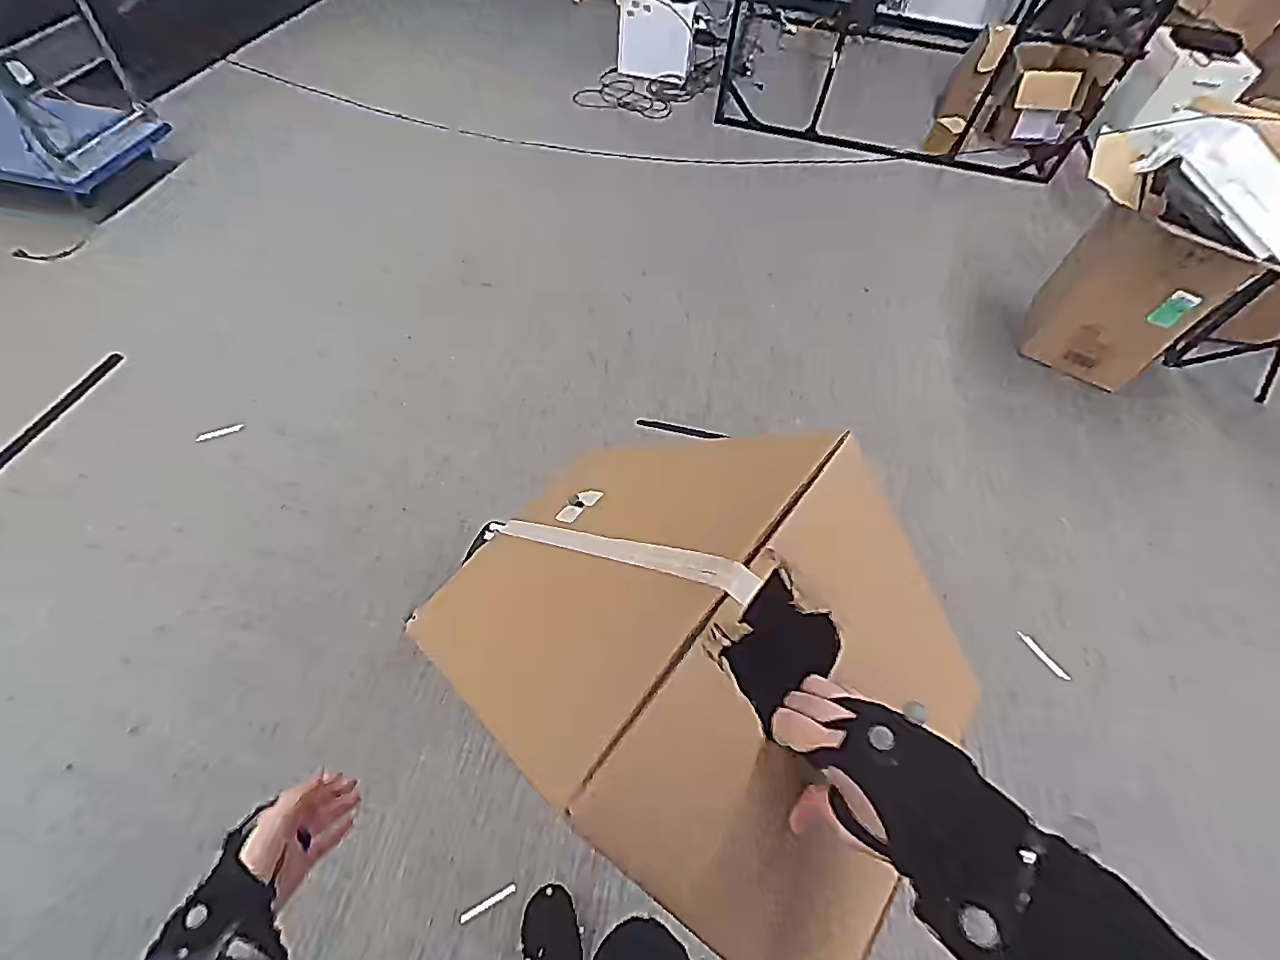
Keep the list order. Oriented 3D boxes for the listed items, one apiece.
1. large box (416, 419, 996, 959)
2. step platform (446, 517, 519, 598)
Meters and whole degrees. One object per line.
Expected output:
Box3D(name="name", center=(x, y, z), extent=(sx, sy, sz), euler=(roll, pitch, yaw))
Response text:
Box3D(name="large box", center=(0.044, 0.173, 0.535), extent=(0.320, 0.408, 0.320), euler=(-47, 113, -24))
Box3D(name="step platform", center=(-0.142, 0.336, 1.409), extent=(0.684, 0.204, 0.286), euler=(17, 56, 7))
